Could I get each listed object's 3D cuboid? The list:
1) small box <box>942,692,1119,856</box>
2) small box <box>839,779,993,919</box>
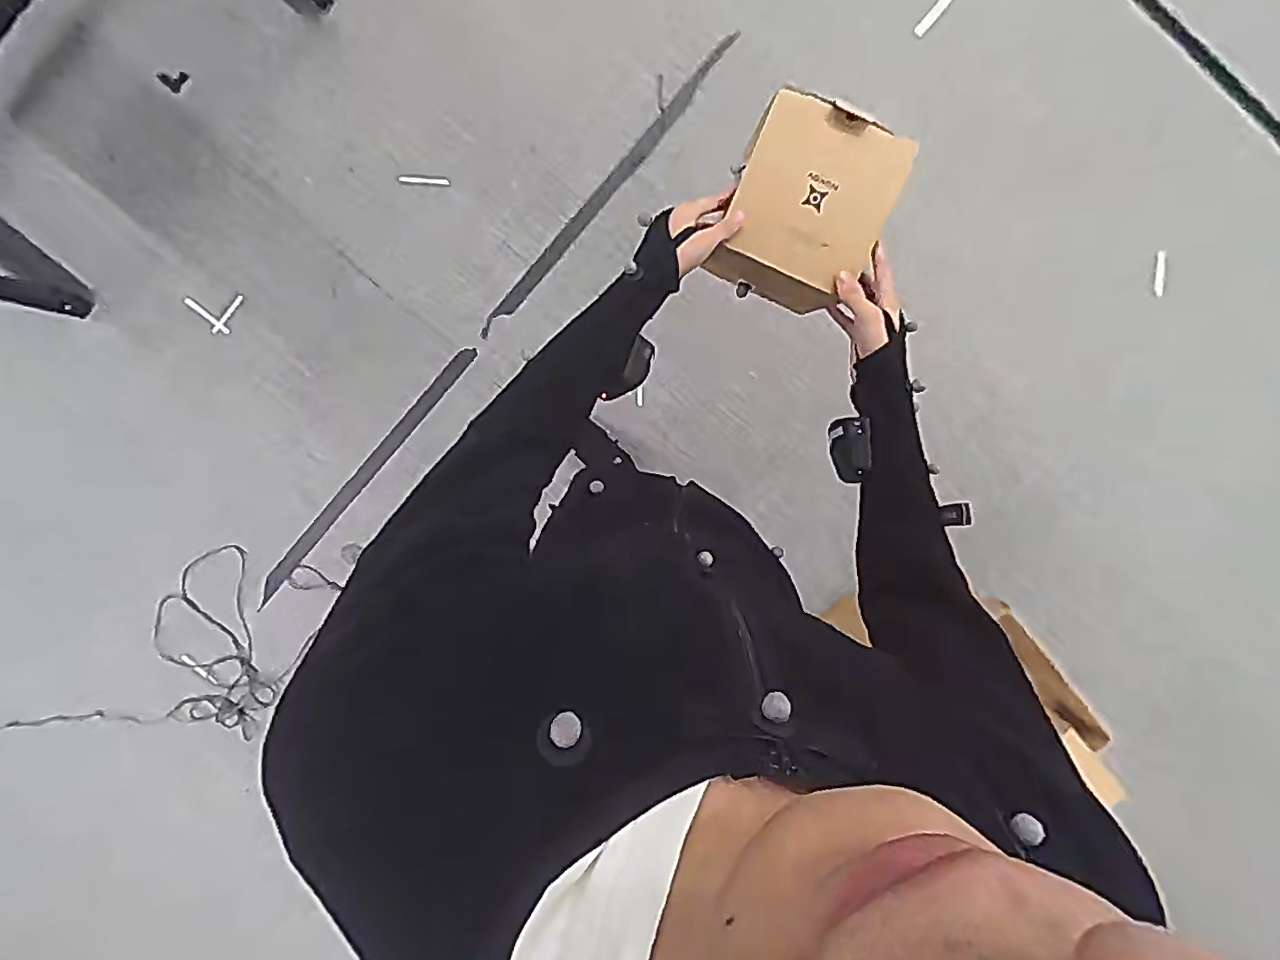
[{"bbox_3d":[0.725,0.542,1.024,0.179,0.176,0.168,-40,95,3],"label":"small box"},{"bbox_3d":[0.509,0.728,1.034,0.179,0.176,0.168,-42,95,3],"label":"small box"}]
